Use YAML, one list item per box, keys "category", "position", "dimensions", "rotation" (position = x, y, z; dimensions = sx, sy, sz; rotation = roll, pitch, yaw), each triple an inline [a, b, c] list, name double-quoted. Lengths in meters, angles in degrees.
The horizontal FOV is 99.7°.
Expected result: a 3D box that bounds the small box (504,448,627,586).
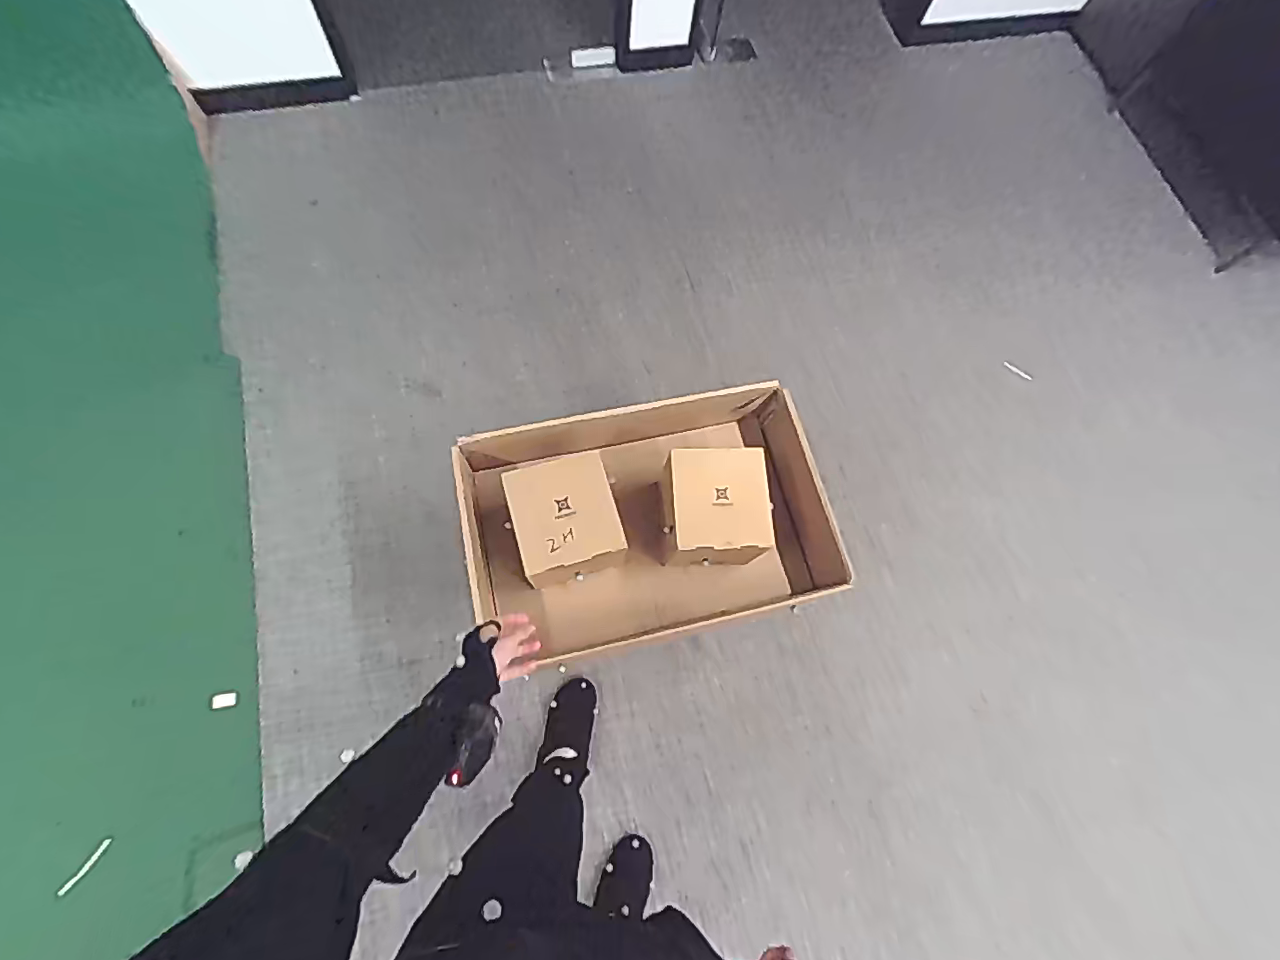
- category: "small box"
  position: [-0.128, 0.069, 0.932]
  dimensions: [0.168, 0.176, 0.179]
  rotation: [-14, 74, -10]
